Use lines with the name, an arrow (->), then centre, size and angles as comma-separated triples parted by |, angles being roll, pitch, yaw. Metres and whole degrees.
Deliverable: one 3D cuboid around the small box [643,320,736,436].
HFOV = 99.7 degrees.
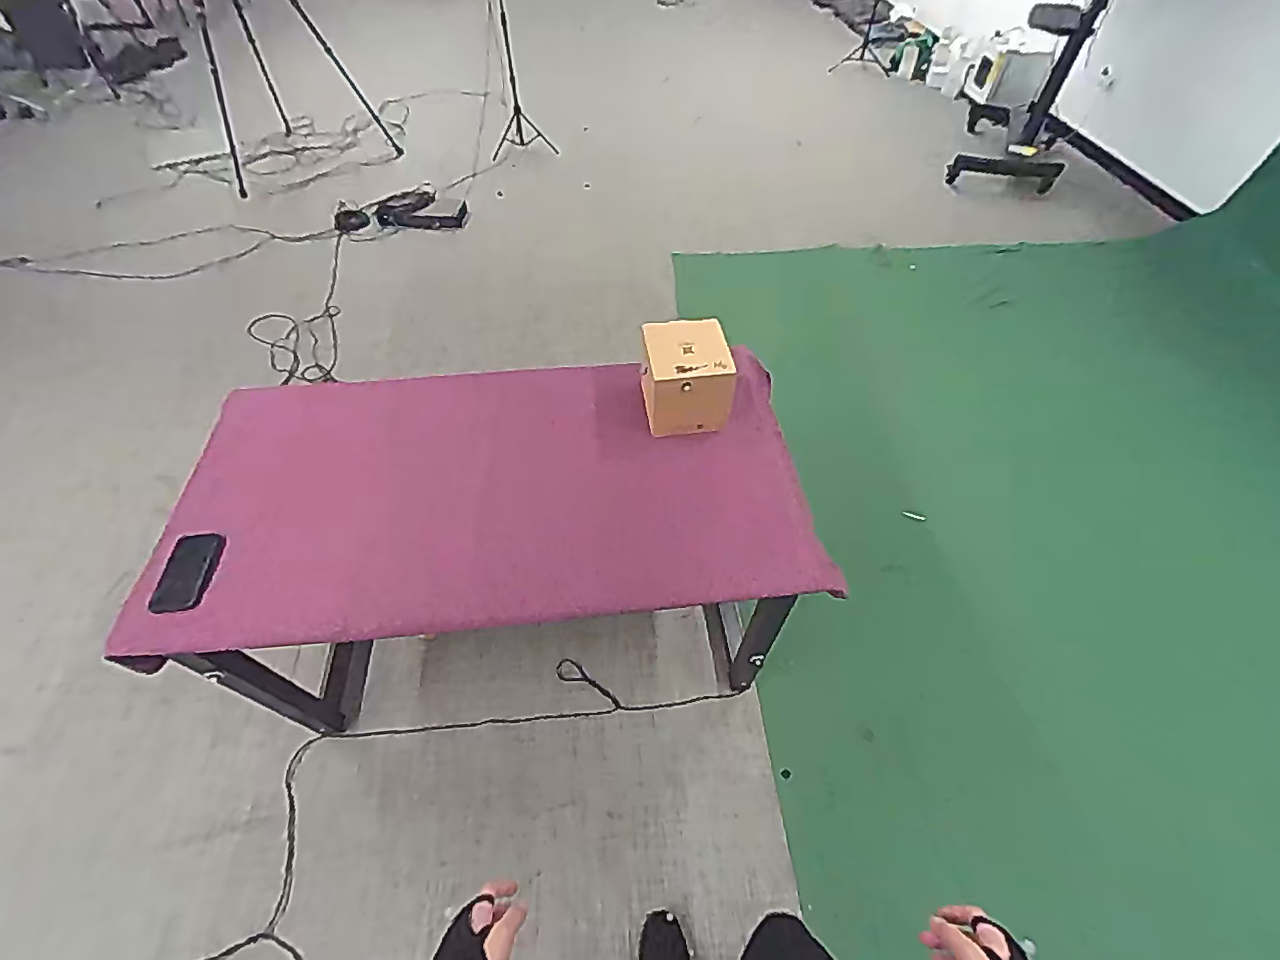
small box -> 0.096, -0.216, 1.155 | 0.168, 0.176, 0.179 | -6, 52, -4
